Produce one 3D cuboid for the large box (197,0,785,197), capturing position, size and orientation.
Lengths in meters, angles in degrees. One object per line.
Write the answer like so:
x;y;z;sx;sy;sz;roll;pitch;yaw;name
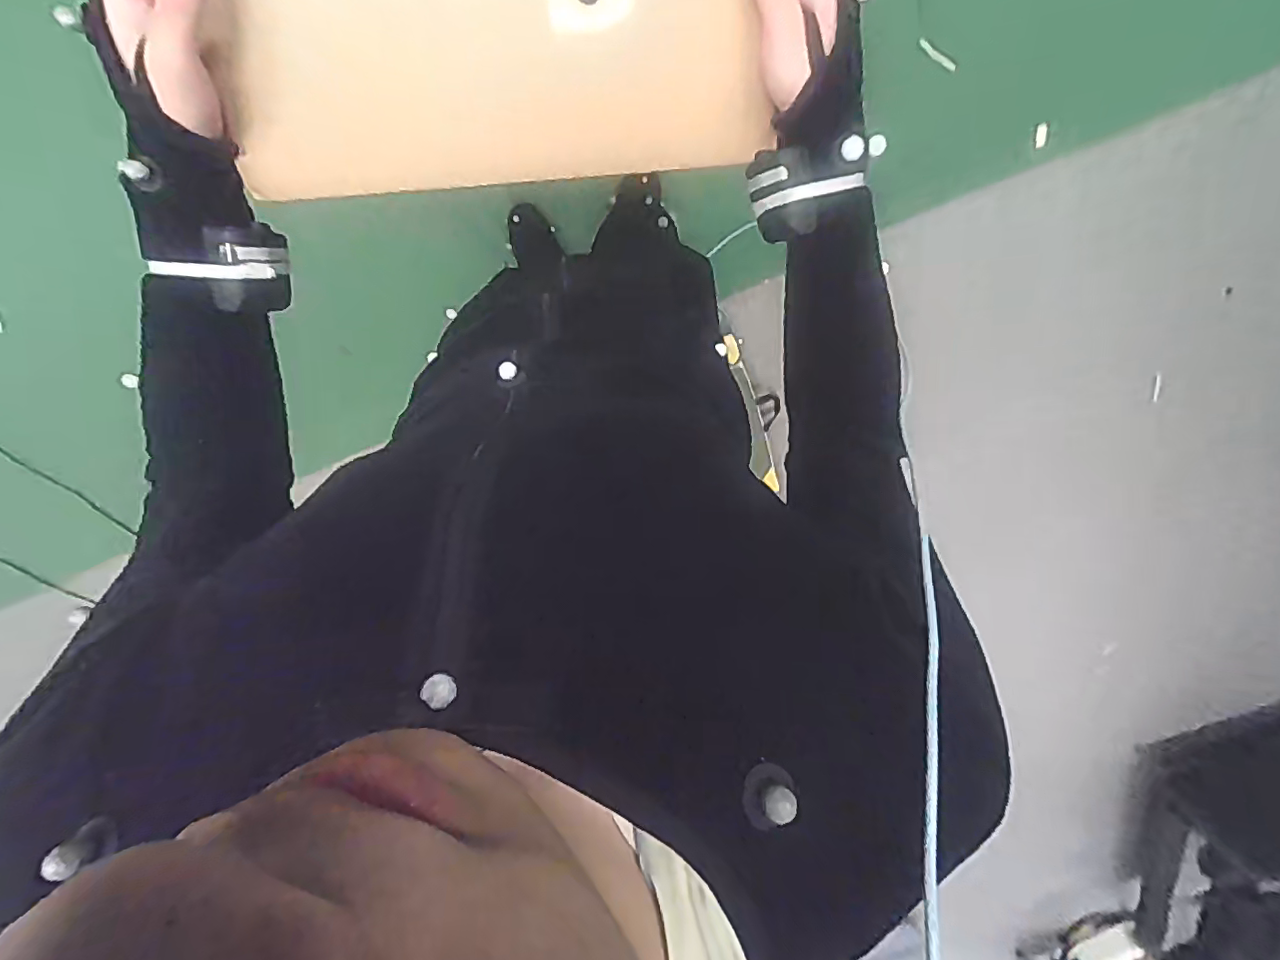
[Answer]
-0.113;-0.451;0.464;0.408;0.320;0.320;-6;126;-3;large box
